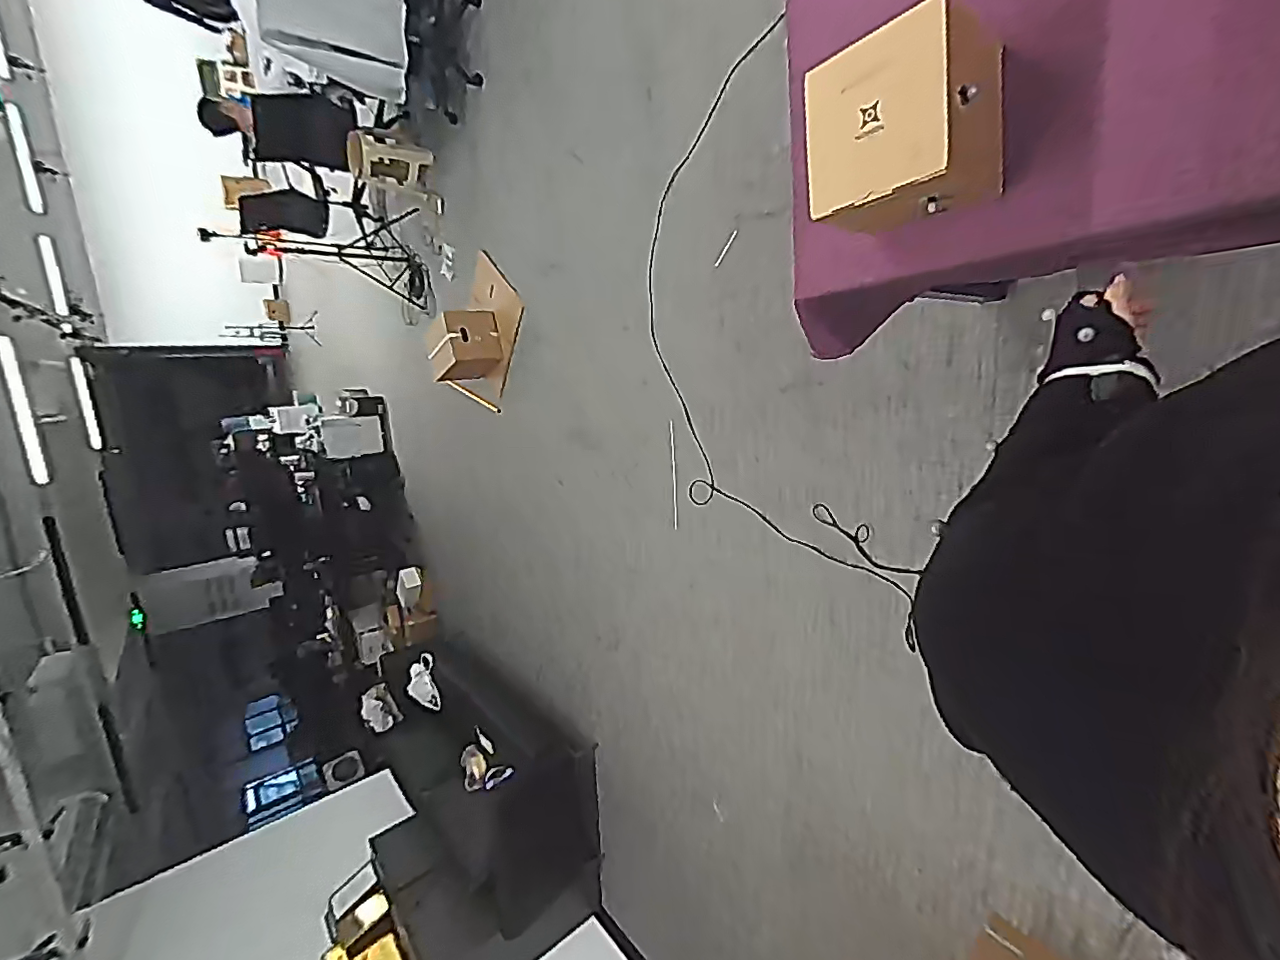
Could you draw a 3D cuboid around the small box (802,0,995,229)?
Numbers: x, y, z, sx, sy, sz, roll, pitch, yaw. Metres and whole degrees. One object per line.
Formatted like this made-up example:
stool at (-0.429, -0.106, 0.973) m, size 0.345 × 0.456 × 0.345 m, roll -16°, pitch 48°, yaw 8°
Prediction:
small box at (0.322, -0.427, 0.672) m, size 0.168 × 0.176 × 0.179 m, roll 5°, pitch 102°, yaw 49°
